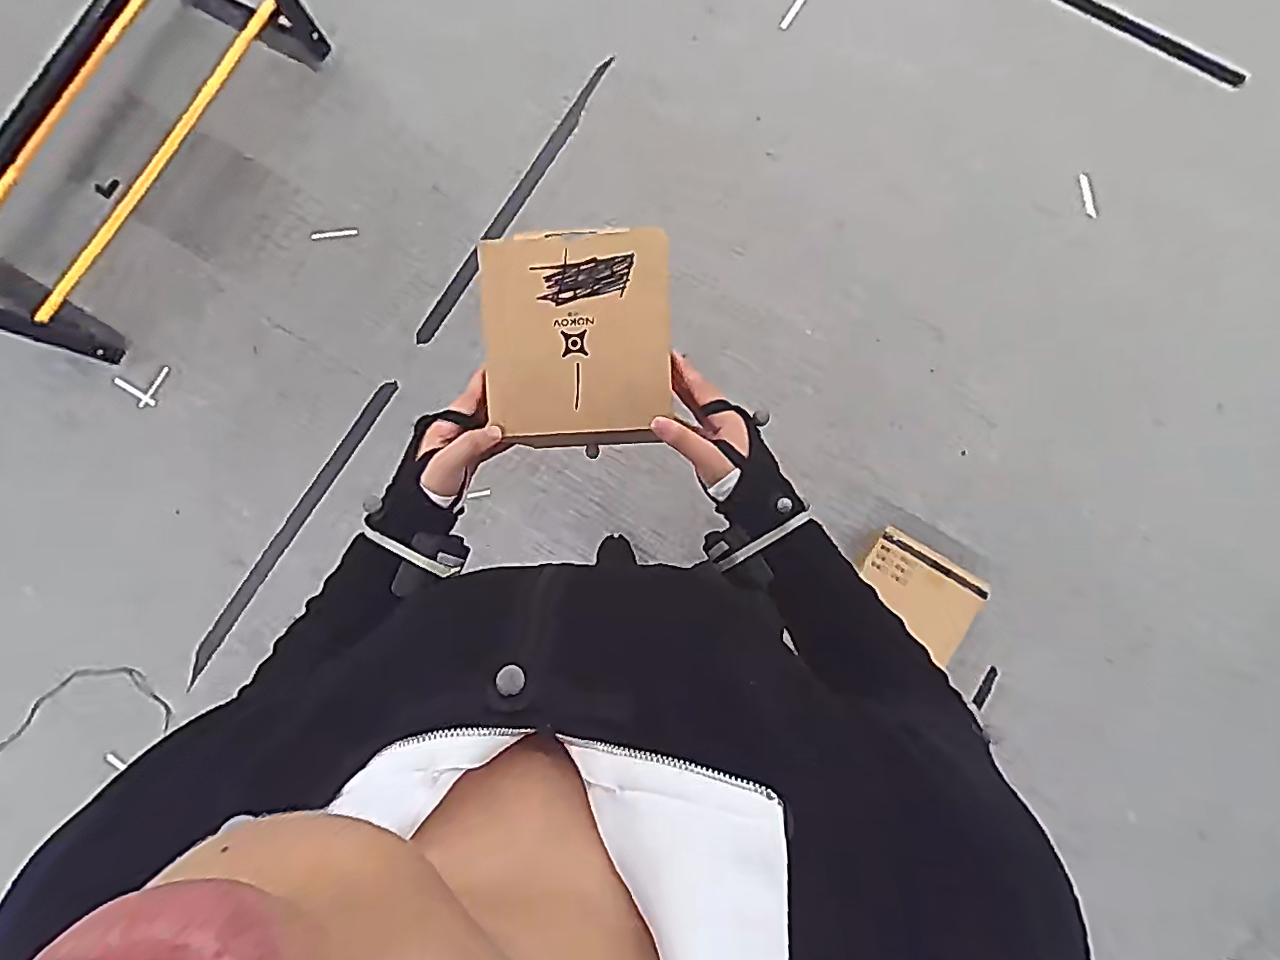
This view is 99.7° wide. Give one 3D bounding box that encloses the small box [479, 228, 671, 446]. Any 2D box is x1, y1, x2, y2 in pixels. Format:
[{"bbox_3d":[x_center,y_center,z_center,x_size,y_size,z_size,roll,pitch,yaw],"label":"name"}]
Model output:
[{"bbox_3d":[-0.055,-0.130,0.554,0.168,0.176,0.179,-3,90,3],"label":"small box"}]
